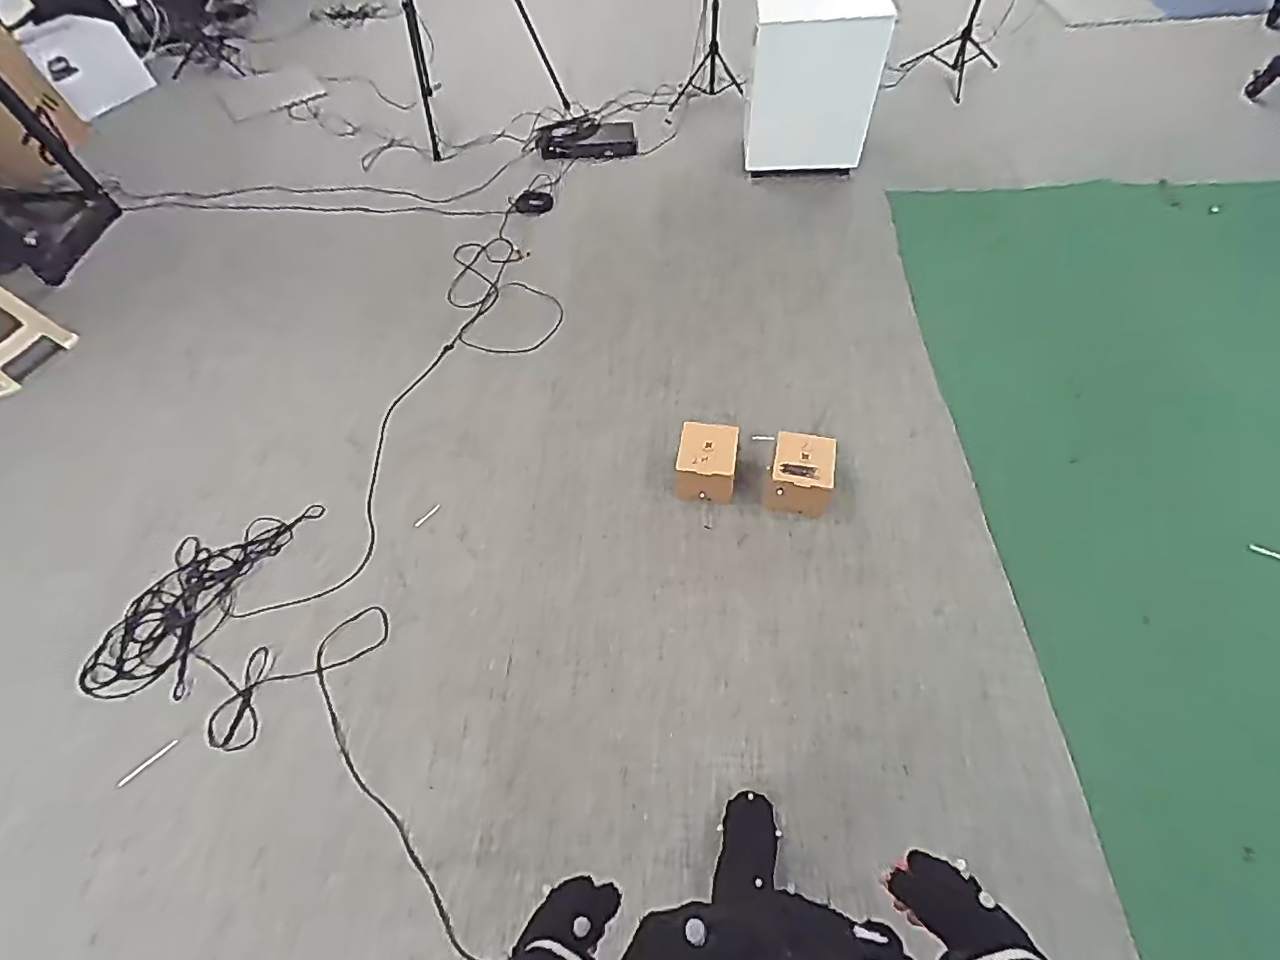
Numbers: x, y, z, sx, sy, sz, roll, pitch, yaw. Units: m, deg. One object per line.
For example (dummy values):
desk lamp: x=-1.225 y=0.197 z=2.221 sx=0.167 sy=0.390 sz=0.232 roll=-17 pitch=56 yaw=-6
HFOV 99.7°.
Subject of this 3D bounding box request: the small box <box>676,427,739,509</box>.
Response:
small box: x=0.202 y=-0.035 z=1.626 sx=0.168 sy=0.176 sz=0.179 roll=7 pitch=59 yaw=10
